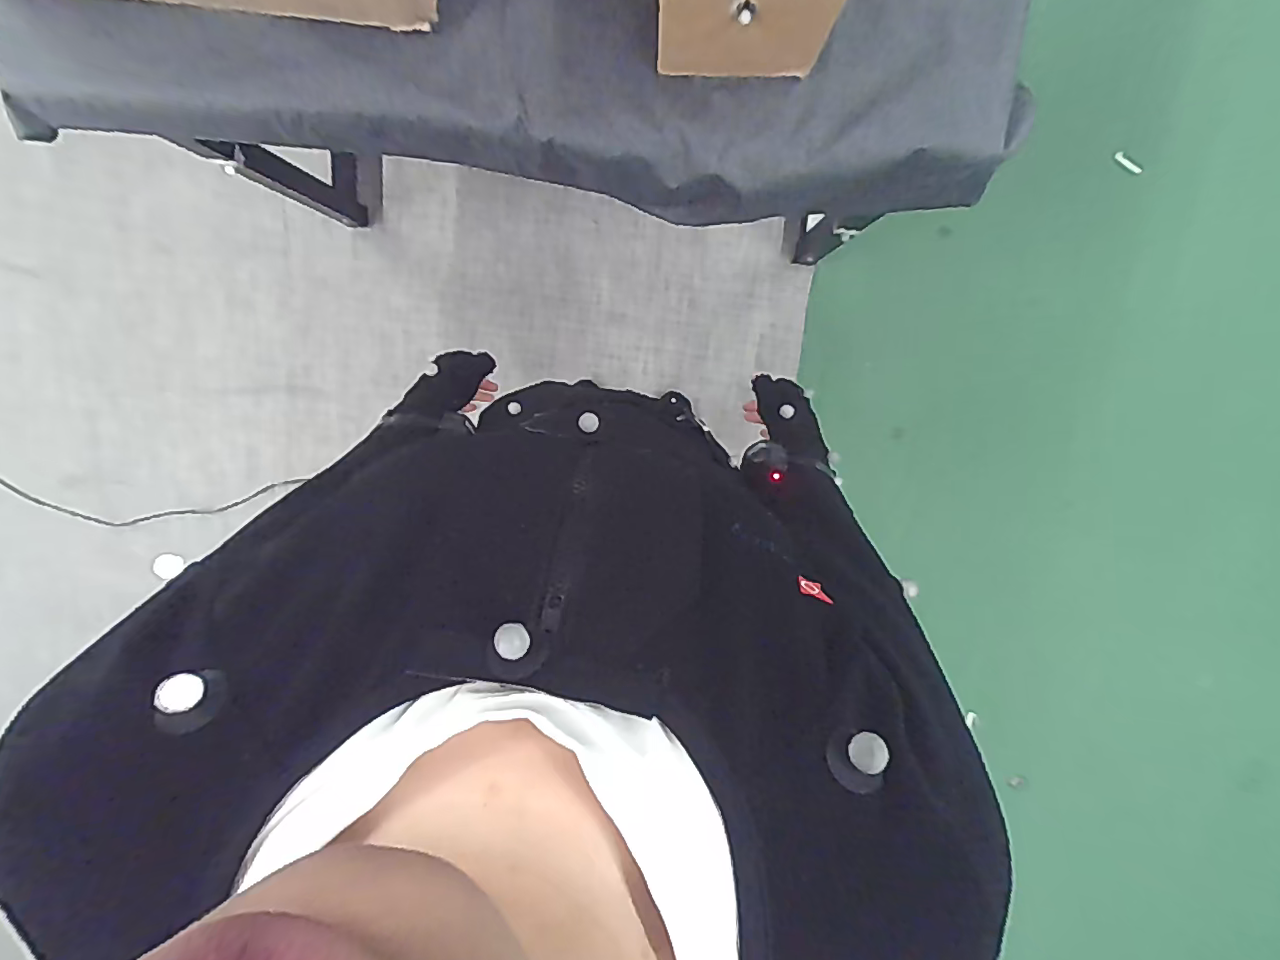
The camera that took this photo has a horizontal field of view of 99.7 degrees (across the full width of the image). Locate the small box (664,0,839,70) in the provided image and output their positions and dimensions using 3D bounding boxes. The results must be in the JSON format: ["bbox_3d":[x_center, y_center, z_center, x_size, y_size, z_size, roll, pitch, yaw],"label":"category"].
[{"bbox_3d":[0.115,-0.545,0.541,0.179,0.176,0.168,2,102,0],"label":"small box"}]
